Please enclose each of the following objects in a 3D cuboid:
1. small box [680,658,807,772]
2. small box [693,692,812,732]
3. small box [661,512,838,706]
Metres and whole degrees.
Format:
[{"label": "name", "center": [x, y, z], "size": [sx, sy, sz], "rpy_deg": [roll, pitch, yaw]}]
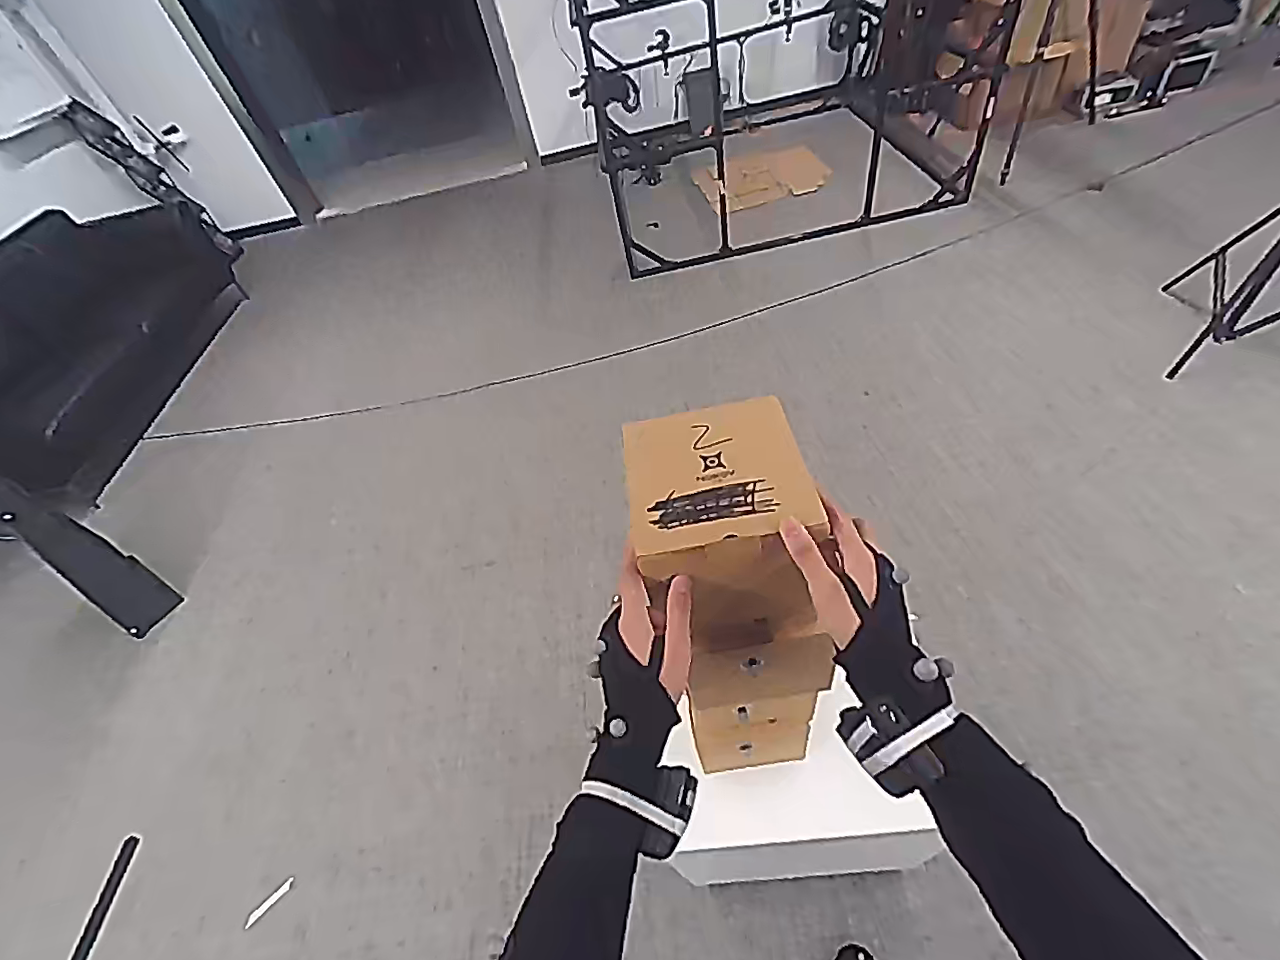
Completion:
[{"label": "small box", "center": [0.173, 0.380, 0.920], "size": [0.179, 0.176, 0.168], "rpy_deg": [-10, 48, 3]}, {"label": "small box", "center": [0.156, 0.261, 0.809], "size": [0.168, 0.176, 0.179], "rpy_deg": [-10, 47, 4]}, {"label": "small box", "center": [0.131, 0.166, 0.676], "size": [0.179, 0.176, 0.168], "rpy_deg": [-10, 48, 4]}]
